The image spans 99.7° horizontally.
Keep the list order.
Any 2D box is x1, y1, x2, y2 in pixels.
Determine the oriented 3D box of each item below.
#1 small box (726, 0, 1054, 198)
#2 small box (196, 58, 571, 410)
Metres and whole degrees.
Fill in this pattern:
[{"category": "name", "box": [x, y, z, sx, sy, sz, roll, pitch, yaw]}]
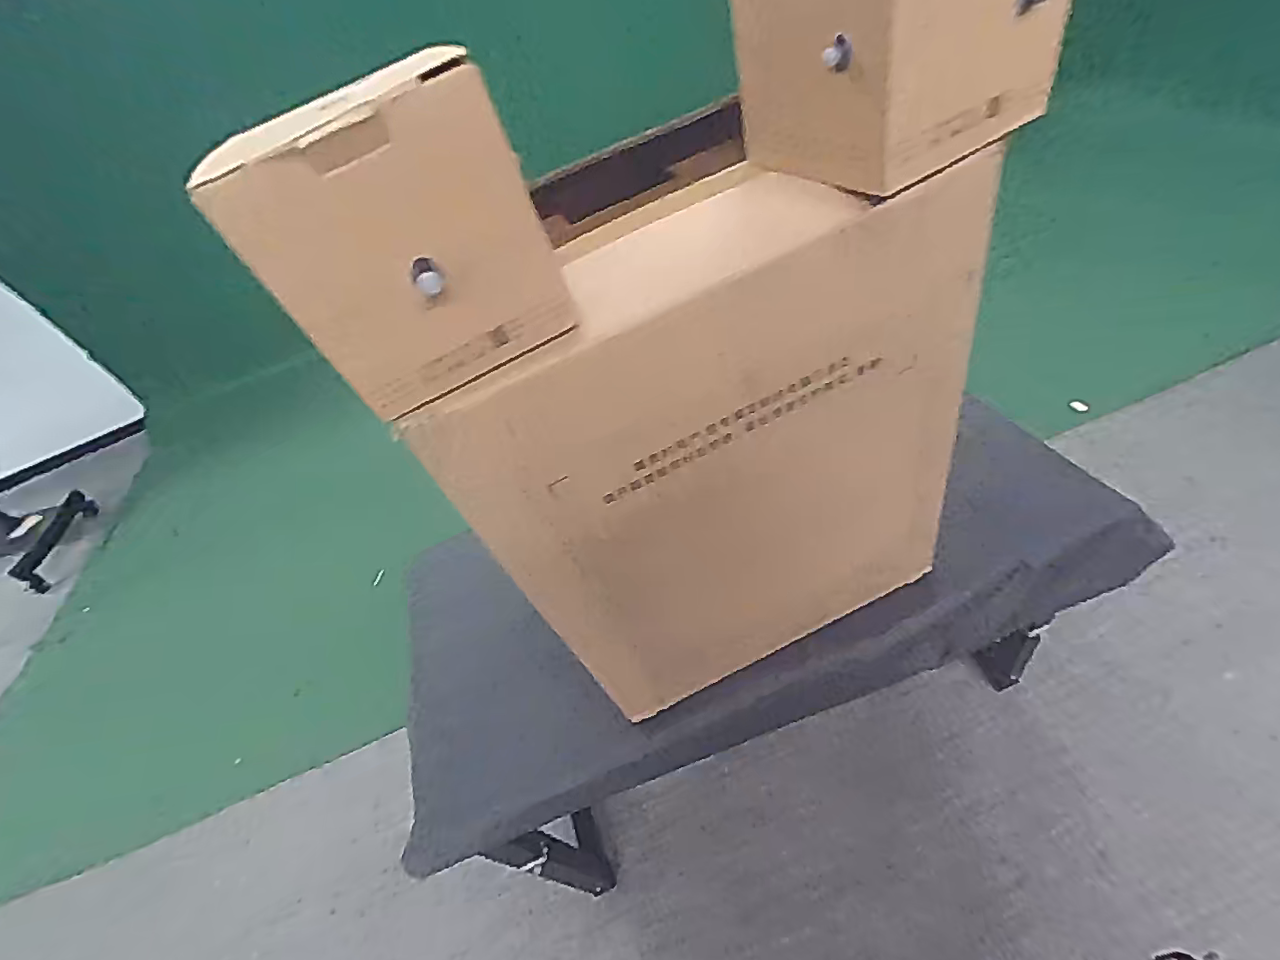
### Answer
[{"category": "small box", "box": [0.188, -0.344, 0.421, 0.168, 0.176, 0.179, -29, 44, -10]}, {"category": "small box", "box": [-0.171, -0.176, 0.403, 0.168, 0.176, 0.179, -29, 45, -5]}]
